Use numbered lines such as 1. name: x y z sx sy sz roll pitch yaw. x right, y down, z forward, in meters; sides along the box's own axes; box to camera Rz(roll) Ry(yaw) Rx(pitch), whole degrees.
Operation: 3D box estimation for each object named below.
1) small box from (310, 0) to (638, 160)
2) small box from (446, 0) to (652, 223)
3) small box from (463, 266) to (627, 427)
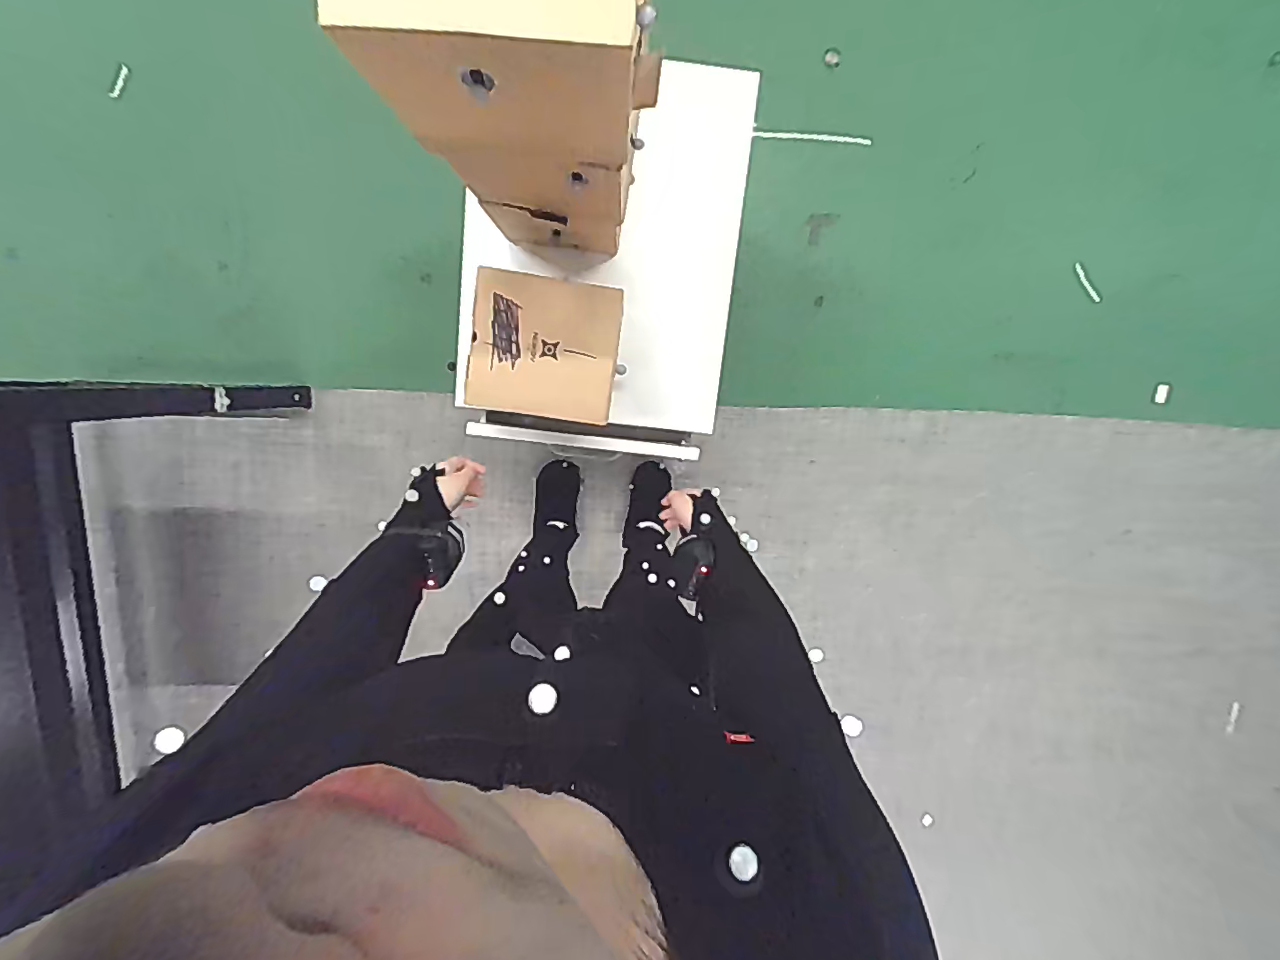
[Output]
1. small box: -0.089 -0.334 0.357 0.179 0.176 0.168 1 101 -3
2. small box: -0.090 -0.367 0.518 0.179 0.176 0.168 9 99 -4
3. small box: -0.116 -0.165 0.715 0.179 0.176 0.168 8 98 -4
